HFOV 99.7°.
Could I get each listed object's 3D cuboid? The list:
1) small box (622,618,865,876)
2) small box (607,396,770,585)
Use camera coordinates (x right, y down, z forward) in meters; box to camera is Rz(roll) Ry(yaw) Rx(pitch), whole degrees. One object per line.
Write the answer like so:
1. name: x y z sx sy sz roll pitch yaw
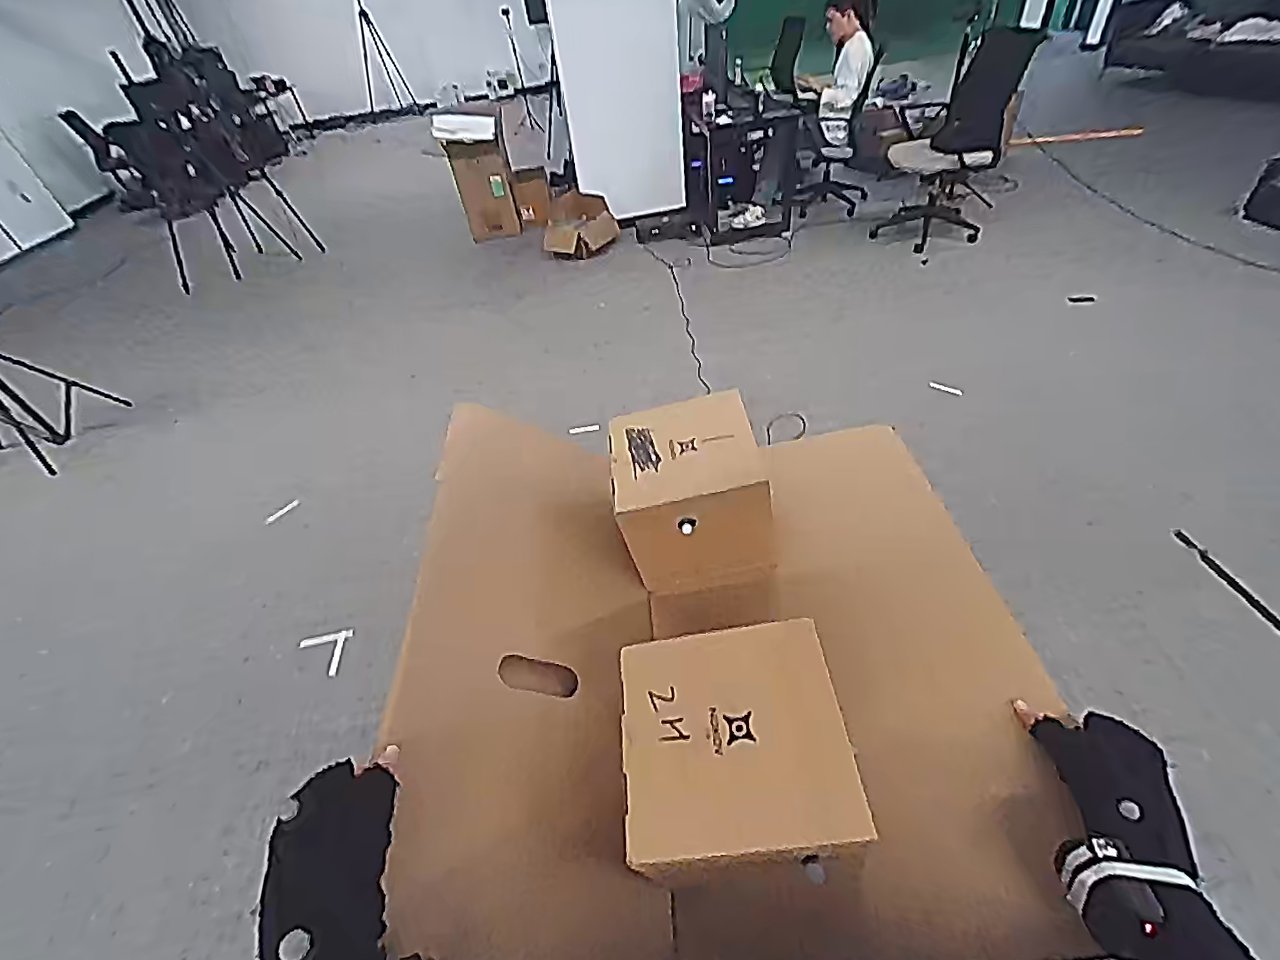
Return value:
1. small box: 0.089 0.250 0.499 0.179 0.176 0.168 -12 46 9
2. small box: 0.064 0.019 0.719 0.179 0.176 0.168 -13 46 6
